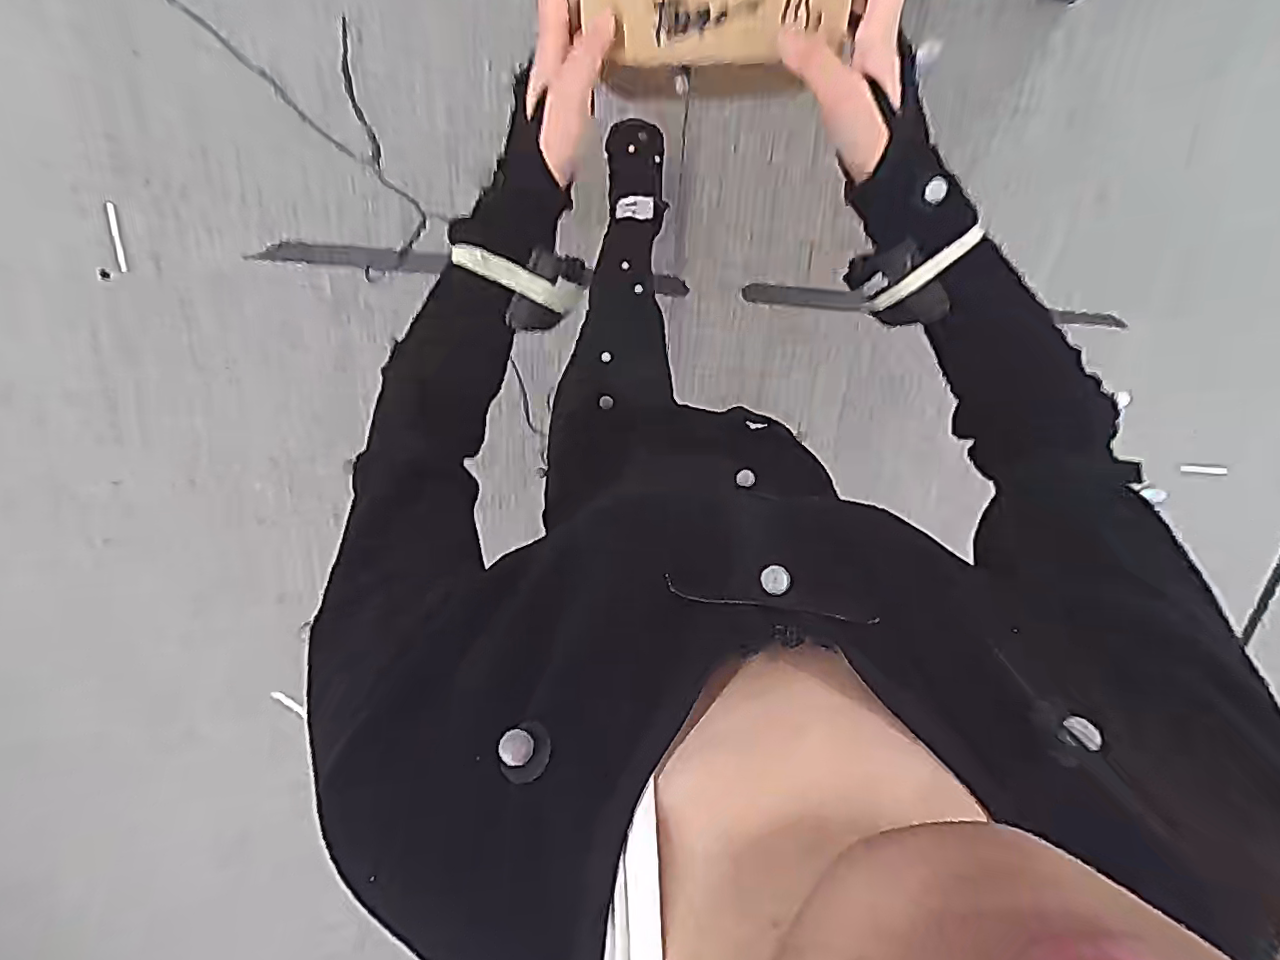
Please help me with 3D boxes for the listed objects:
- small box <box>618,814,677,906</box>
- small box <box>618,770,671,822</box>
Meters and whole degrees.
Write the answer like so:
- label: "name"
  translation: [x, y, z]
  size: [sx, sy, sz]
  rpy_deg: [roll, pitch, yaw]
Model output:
- label: "small box"
  translation: [0.018, 1.153, 1.654]
  size: [0.168, 0.176, 0.179]
  rpy_deg: [-1, 110, -4]
- label: "small box"
  translation: [0.012, 1.099, 1.810]
  size: [0.168, 0.176, 0.179]
  rpy_deg: [-2, 111, -3]
